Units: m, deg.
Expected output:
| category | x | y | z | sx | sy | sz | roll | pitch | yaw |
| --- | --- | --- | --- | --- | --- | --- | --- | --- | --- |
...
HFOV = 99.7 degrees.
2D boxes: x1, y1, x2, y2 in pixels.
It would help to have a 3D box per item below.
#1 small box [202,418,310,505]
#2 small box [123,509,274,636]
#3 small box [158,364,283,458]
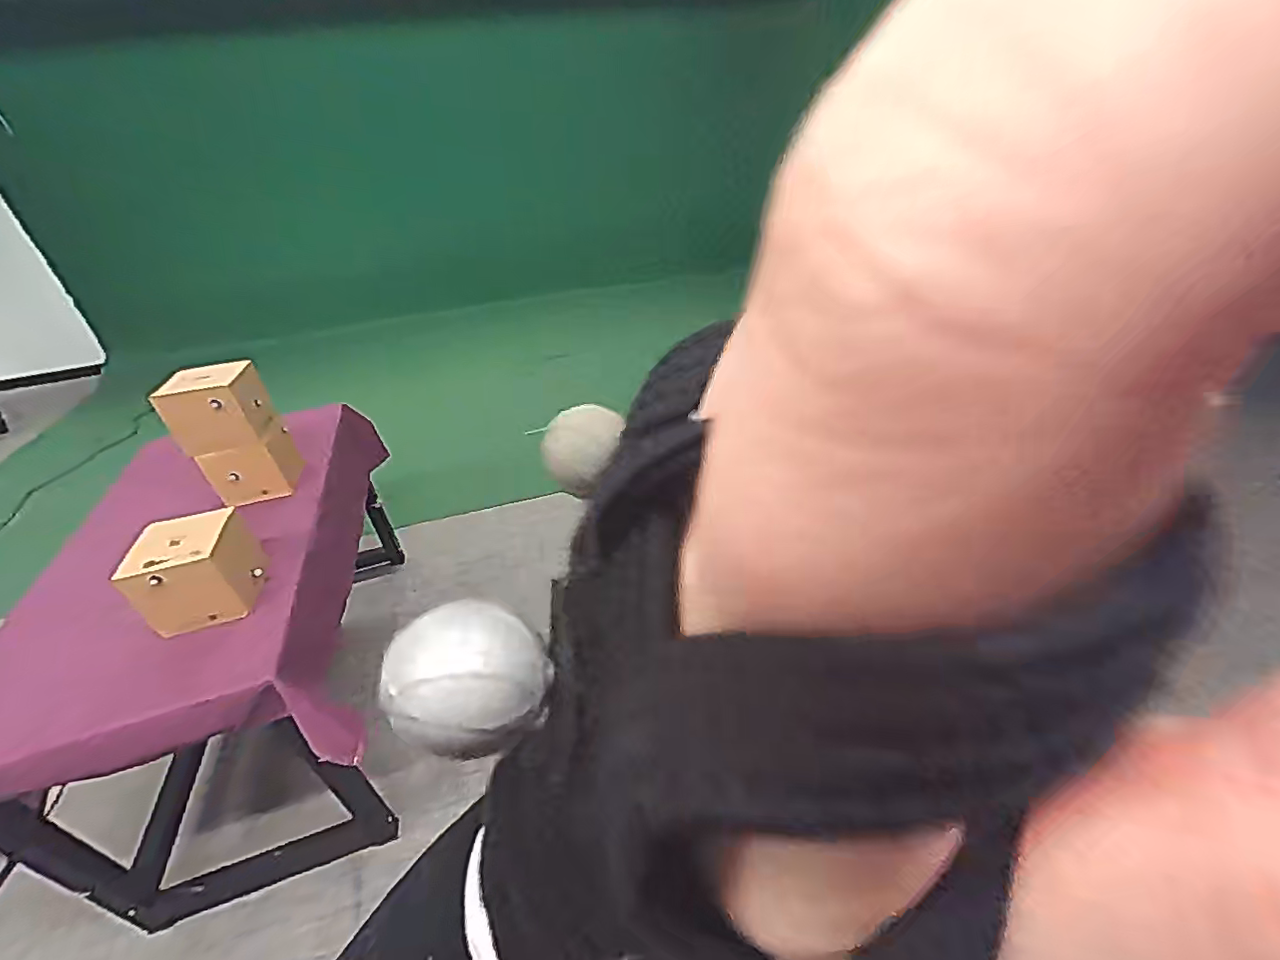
| category | x | y | z | sx | sy | sz | roll | pitch | yaw |
| --- | --- | --- | --- | --- | --- | --- | --- | --- | --- |
| small box | -1.046 | -0.046 | 1.493 | 0.168 | 0.176 | 0.179 | -14 | 36 | -10 |
| small box | -0.906 | 0.192 | 1.135 | 0.168 | 0.176 | 0.179 | -15 | 35 | -10 |
| small box | -1.067 | -0.178 | 1.397 | 0.179 | 0.176 | 0.168 | -13 | 35 | -8 |
